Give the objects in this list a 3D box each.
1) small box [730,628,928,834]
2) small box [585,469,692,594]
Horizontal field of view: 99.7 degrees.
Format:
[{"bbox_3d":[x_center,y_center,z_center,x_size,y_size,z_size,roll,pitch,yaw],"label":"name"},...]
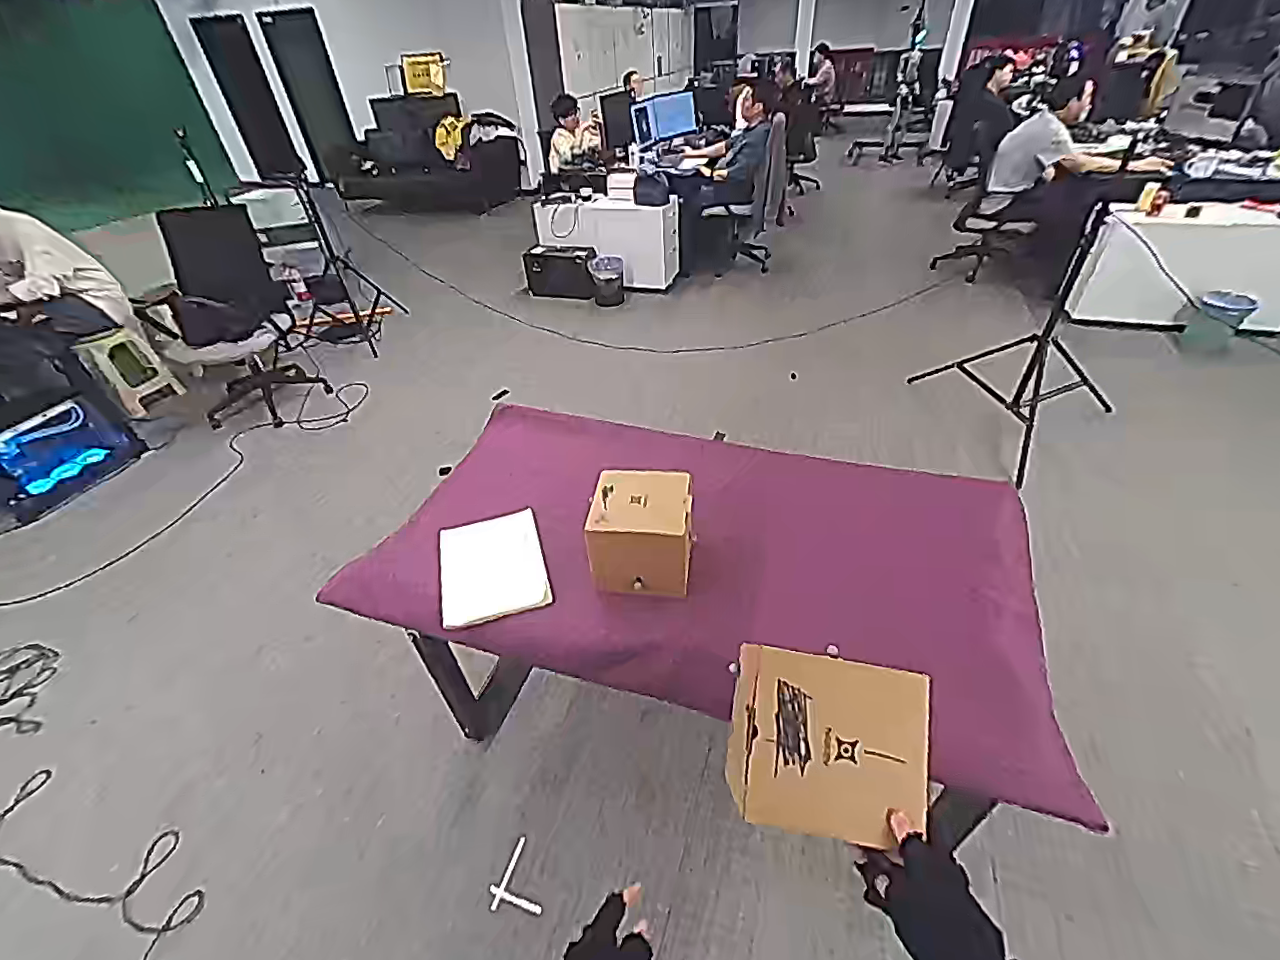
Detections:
[{"bbox_3d":[0.203,0.270,0.620,0.179,0.176,0.168,8,75,6],"label":"small box"},{"bbox_3d":[0.005,0.097,1.022,0.179,0.176,0.168,3,39,8],"label":"small box"}]
